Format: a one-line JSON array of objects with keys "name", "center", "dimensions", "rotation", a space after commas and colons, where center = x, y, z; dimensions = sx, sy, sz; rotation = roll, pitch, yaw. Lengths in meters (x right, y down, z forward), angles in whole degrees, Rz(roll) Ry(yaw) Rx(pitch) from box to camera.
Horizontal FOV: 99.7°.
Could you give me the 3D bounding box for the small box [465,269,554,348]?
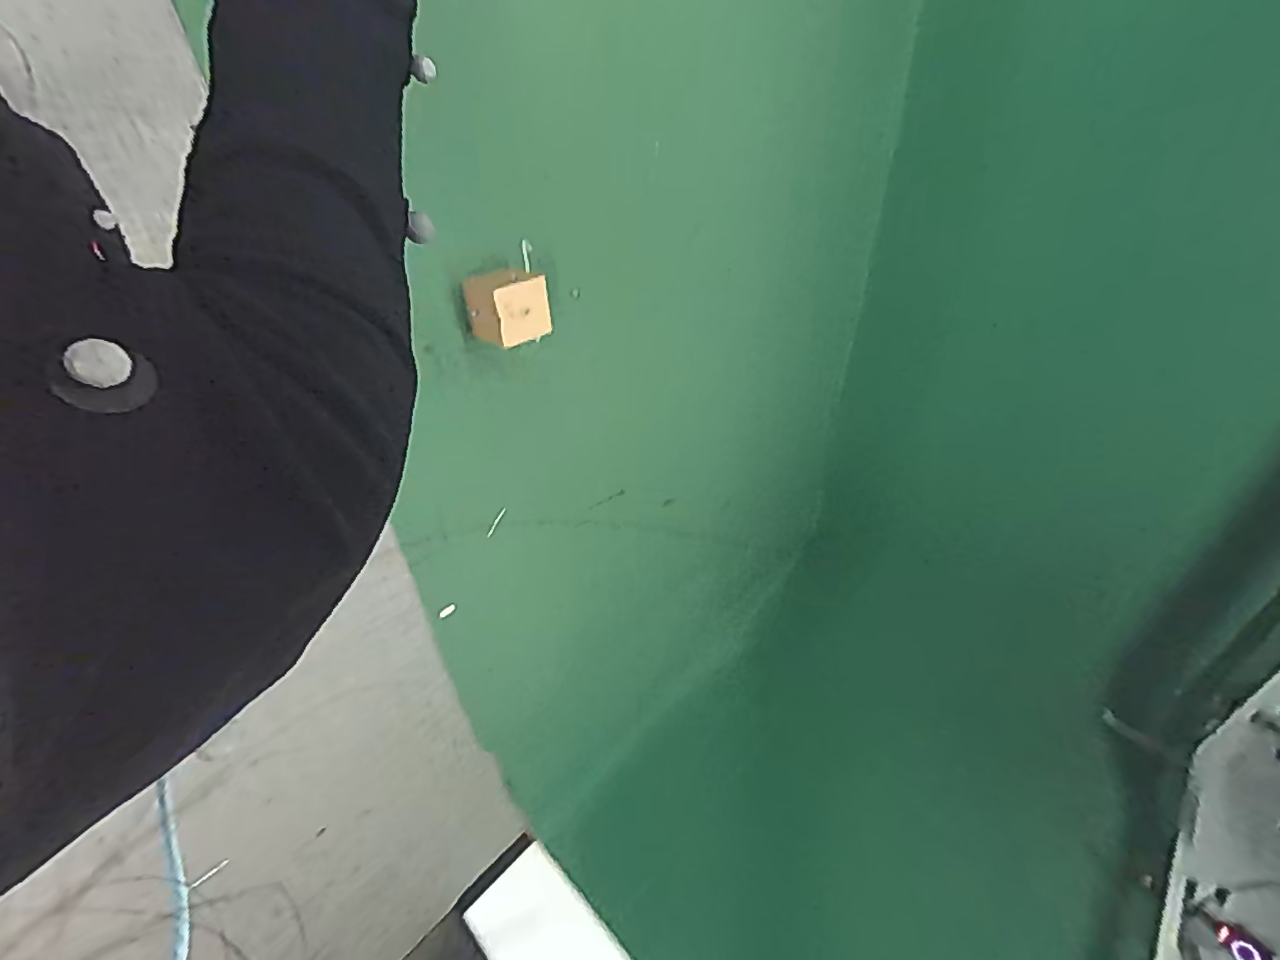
[{"name": "small box", "center": [-0.379, -0.508, 1.580], "dimensions": [0.179, 0.176, 0.168], "rotation": [-32, 135, -34]}]
